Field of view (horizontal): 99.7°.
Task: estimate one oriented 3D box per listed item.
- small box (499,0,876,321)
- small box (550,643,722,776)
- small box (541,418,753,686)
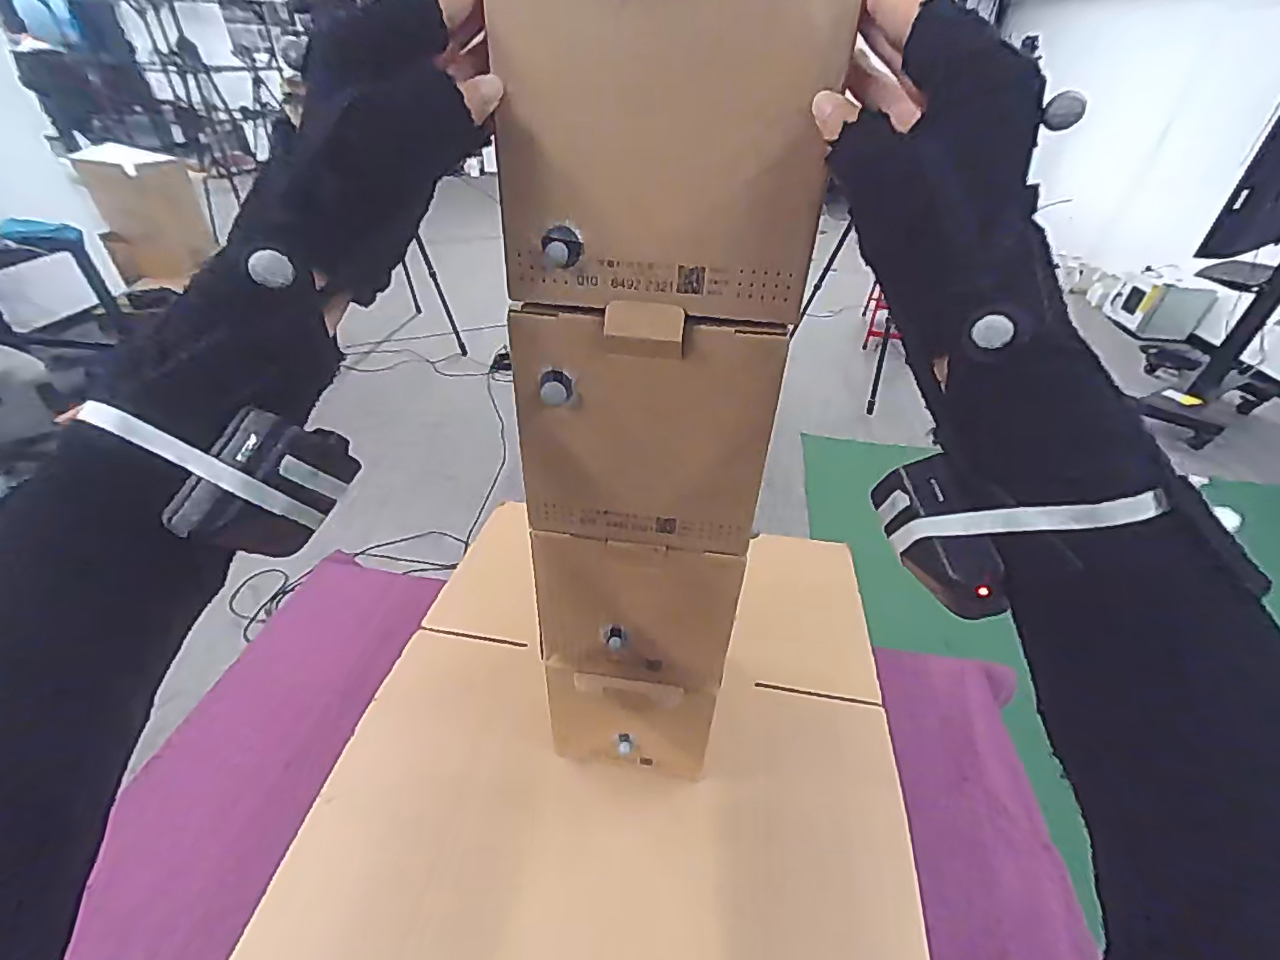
[{"bbox_3d":[0.026,-0.206,0.326,0.168,0.176,0.179,5,36,2],"label":"small box"},{"bbox_3d":[0.004,0.195,0.612,0.168,0.176,0.179,8,36,7],"label":"small box"},{"bbox_3d":[0.010,0.063,0.517,0.168,0.176,0.179,7,37,5],"label":"small box"}]
